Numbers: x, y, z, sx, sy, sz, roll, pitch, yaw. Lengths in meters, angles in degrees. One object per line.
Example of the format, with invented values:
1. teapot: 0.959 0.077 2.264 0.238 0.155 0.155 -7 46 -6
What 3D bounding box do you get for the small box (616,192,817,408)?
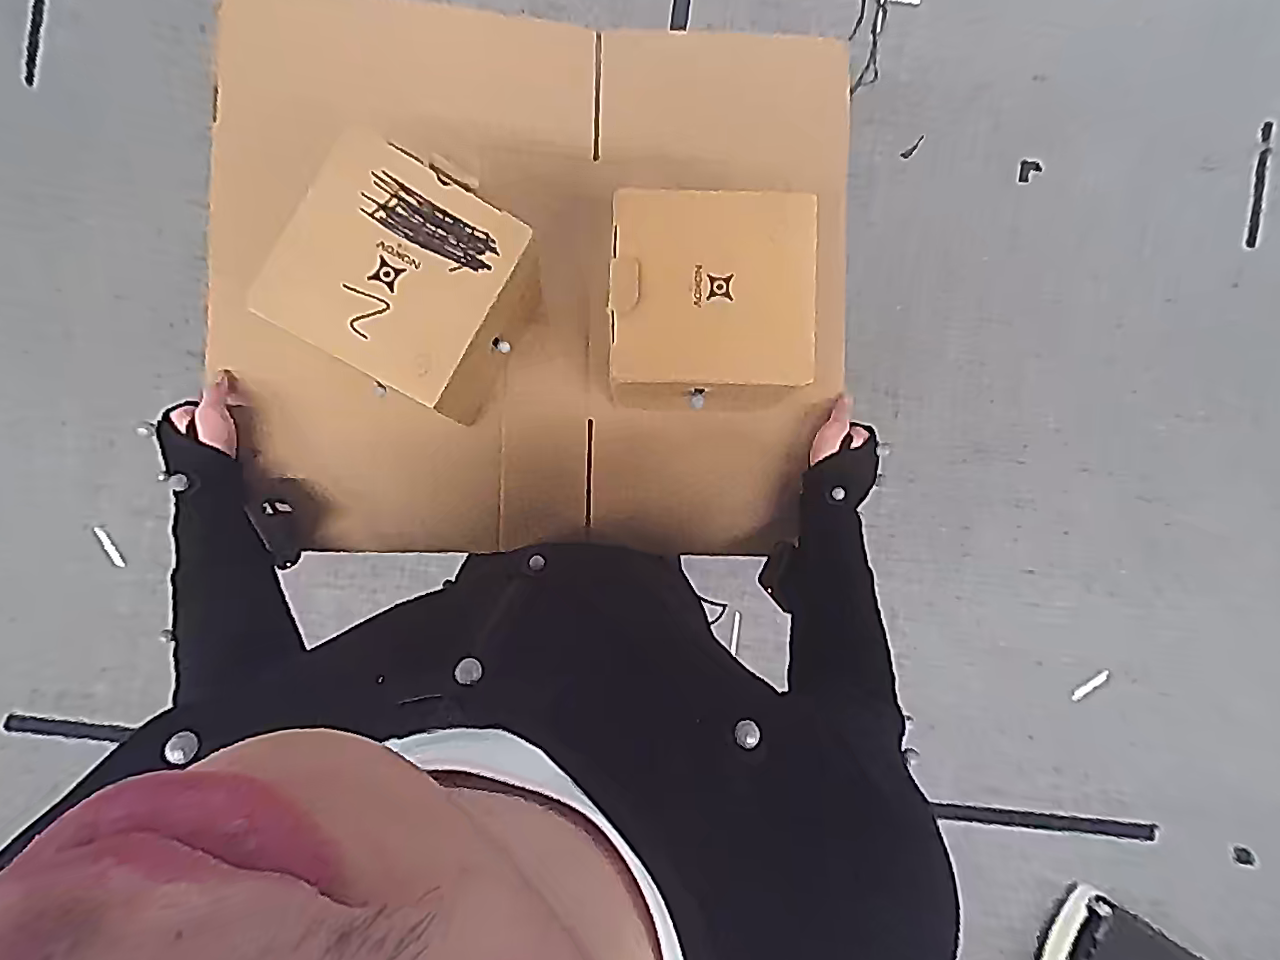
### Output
1. small box: 0.067 -0.169 0.558 0.179 0.176 0.168 1 89 0
